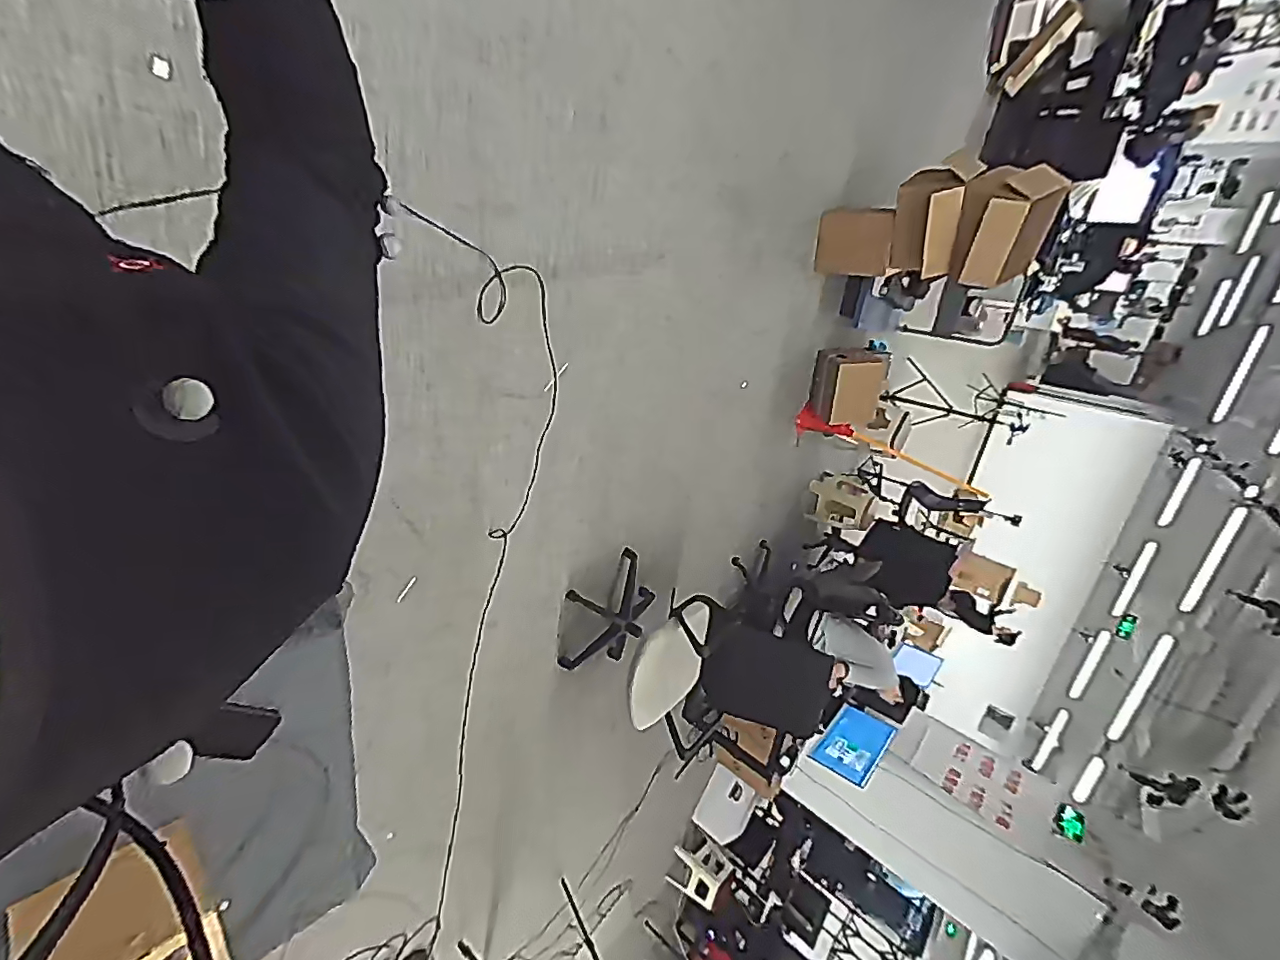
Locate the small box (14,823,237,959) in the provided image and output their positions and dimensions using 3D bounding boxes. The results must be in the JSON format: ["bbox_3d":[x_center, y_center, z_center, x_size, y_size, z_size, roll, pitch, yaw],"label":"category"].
[{"bbox_3d":[-0.643,0.581,0.684,0.168,0.176,0.179,-19,125,-46],"label":"small box"}]
